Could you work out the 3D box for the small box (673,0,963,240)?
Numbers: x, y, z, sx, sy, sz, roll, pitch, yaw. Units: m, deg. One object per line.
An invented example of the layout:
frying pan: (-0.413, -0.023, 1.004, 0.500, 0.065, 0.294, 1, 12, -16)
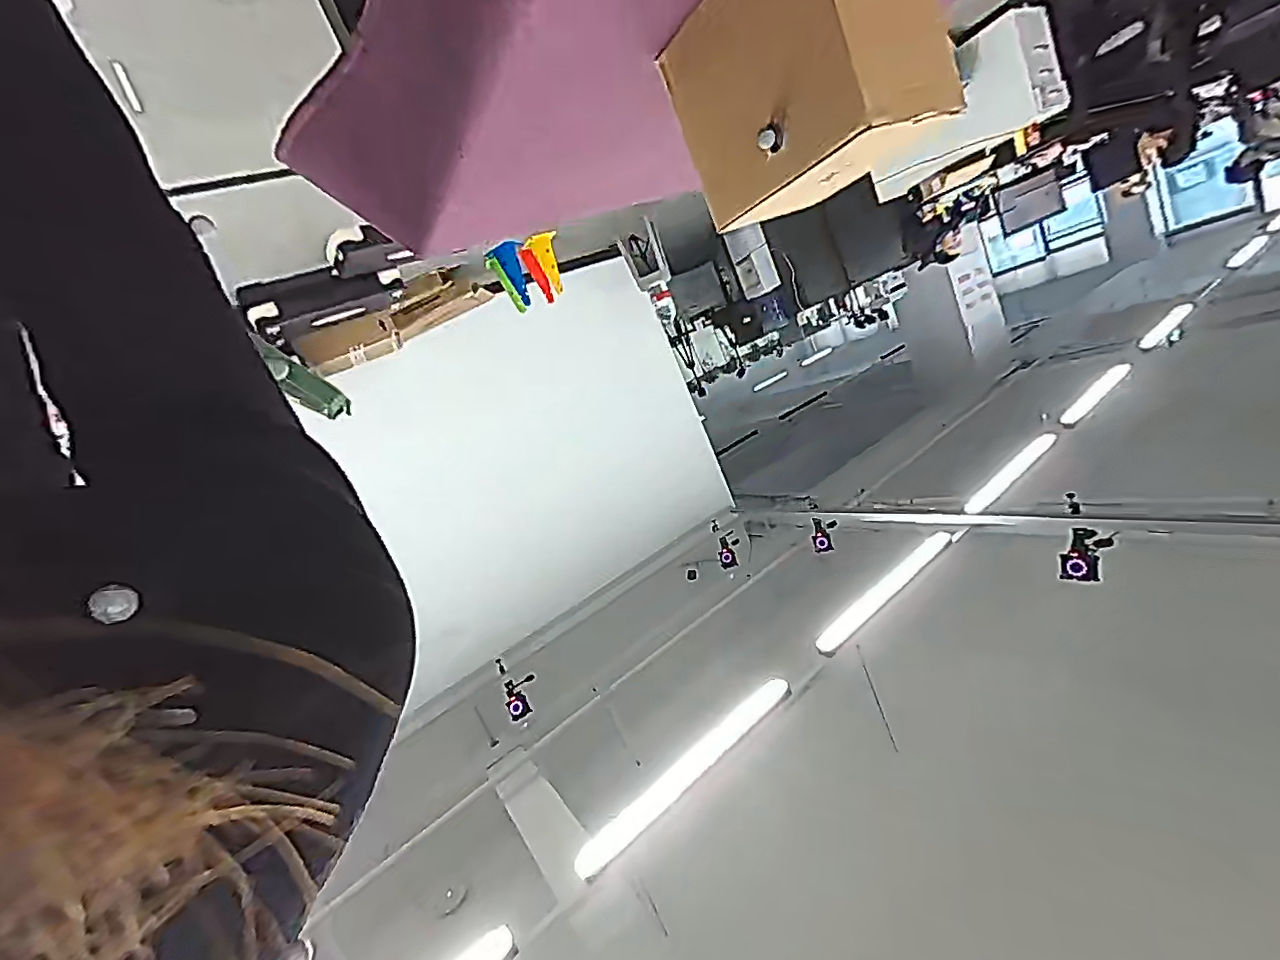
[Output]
small box: (0.152, -0.353, 0.496, 0.168, 0.176, 0.179, -30, -168, -30)
